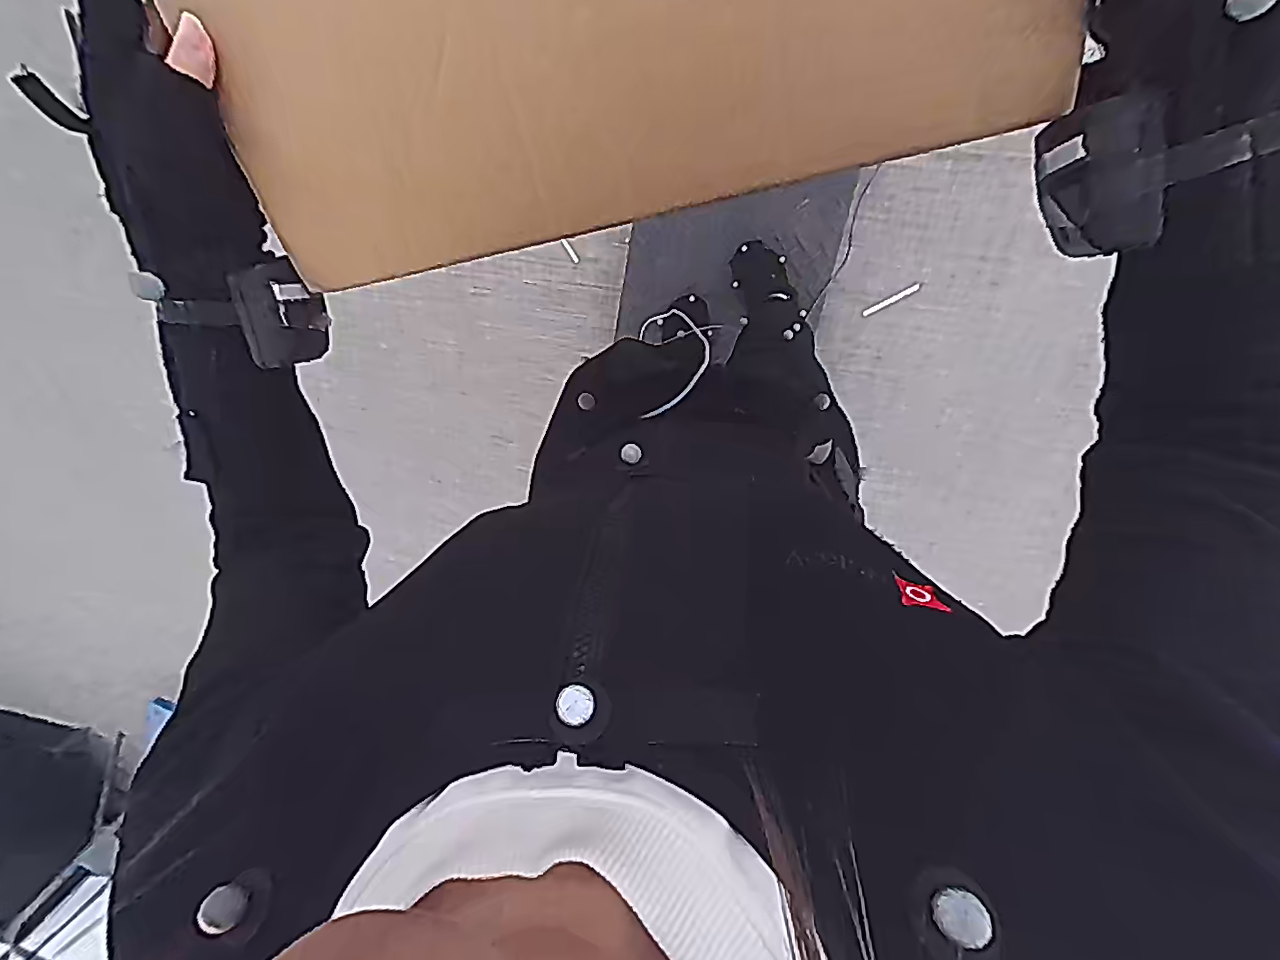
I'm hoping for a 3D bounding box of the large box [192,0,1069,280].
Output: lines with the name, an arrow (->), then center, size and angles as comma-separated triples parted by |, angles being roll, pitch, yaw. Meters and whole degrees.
large box -> -0.016, -0.354, 0.344 | 0.408, 0.320, 0.320 | -6, 121, 15
